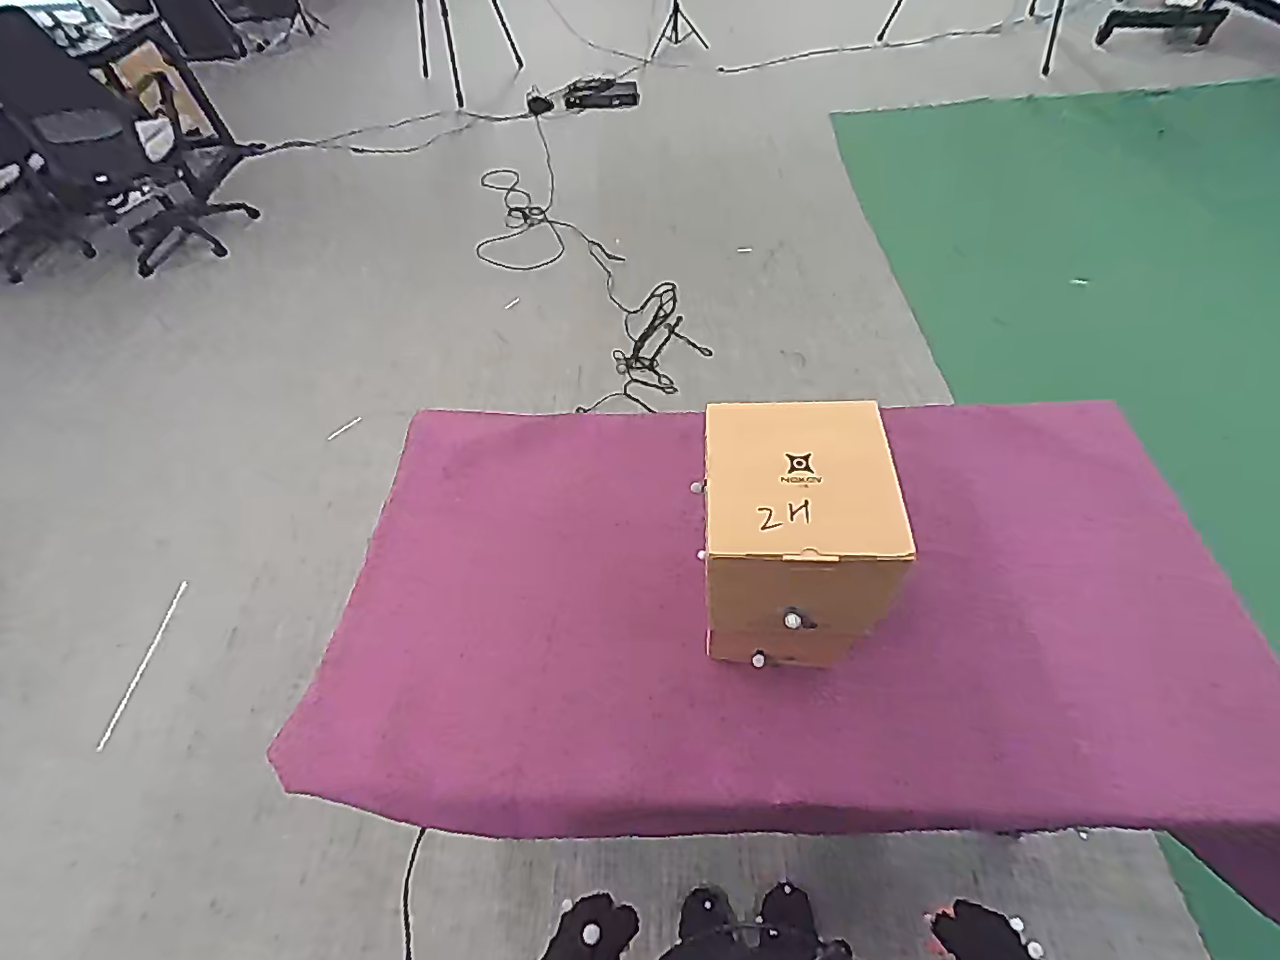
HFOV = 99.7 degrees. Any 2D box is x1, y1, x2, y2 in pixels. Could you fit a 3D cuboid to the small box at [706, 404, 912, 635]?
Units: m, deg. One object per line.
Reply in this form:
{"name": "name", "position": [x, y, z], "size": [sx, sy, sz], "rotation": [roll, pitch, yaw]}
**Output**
{"name": "small box", "position": [0.153, 0.041, 0.556], "size": [0.168, 0.176, 0.179], "rotation": [0, 54, 7]}

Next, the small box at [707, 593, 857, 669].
{"name": "small box", "position": [0.173, 0.125, 0.696], "size": [0.168, 0.176, 0.179], "rotation": [1, 55, 8]}
